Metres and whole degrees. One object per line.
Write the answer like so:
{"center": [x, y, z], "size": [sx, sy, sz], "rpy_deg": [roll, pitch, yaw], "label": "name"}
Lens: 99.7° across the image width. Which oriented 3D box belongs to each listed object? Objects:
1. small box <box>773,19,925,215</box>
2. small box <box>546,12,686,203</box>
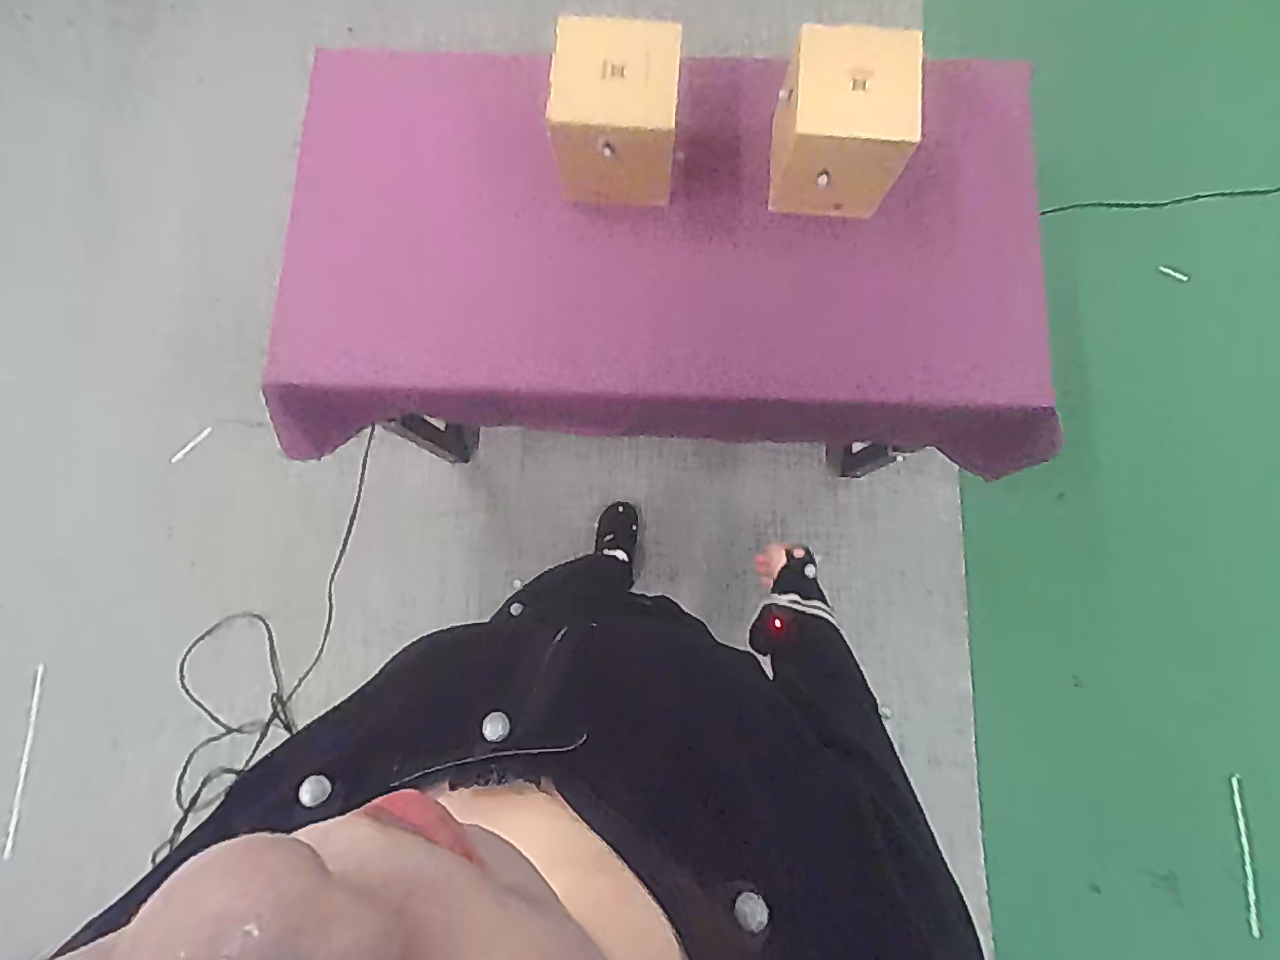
{"center": [0.297, -0.522, 0.798], "size": [0.168, 0.176, 0.179], "rpy_deg": [5, 81, 2], "label": "small box"}
{"center": [-0.030, -0.543, 0.807], "size": [0.179, 0.176, 0.168], "rpy_deg": [6, 82, 1], "label": "small box"}
